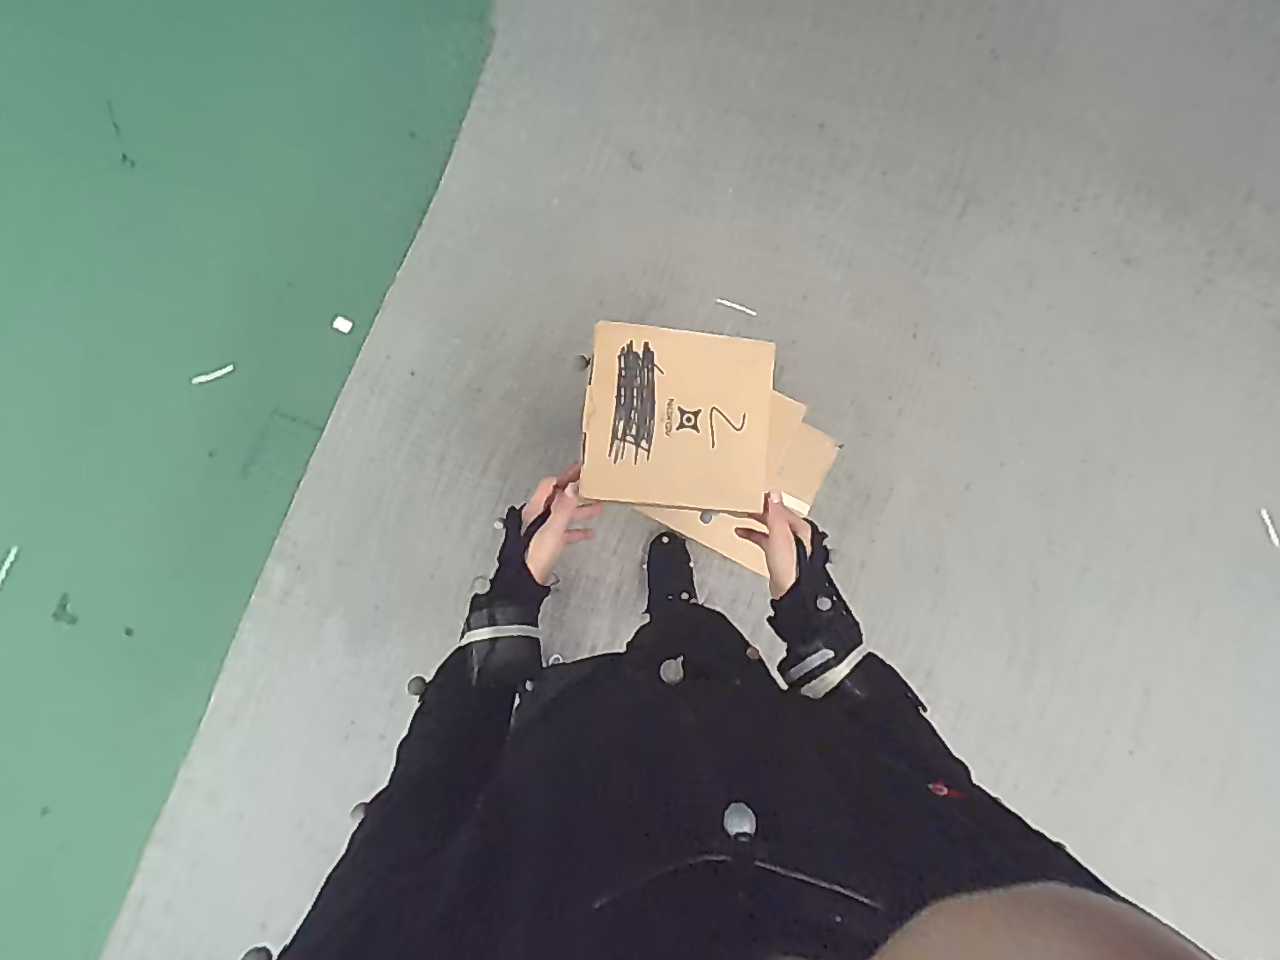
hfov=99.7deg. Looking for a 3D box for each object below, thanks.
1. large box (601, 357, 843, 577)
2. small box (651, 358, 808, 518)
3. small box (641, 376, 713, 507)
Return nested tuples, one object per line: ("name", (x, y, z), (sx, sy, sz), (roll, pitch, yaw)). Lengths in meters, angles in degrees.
("large box", (0.163, -0.021, 1.223), (0.408, 0.320, 0.320), (27, 88, 2))
("small box", (0.125, -0.053, 0.821), (0.168, 0.176, 0.179), (25, 86, 1))
("small box", (0.118, -0.058, 0.984), (0.179, 0.176, 0.168), (33, 87, 3))
